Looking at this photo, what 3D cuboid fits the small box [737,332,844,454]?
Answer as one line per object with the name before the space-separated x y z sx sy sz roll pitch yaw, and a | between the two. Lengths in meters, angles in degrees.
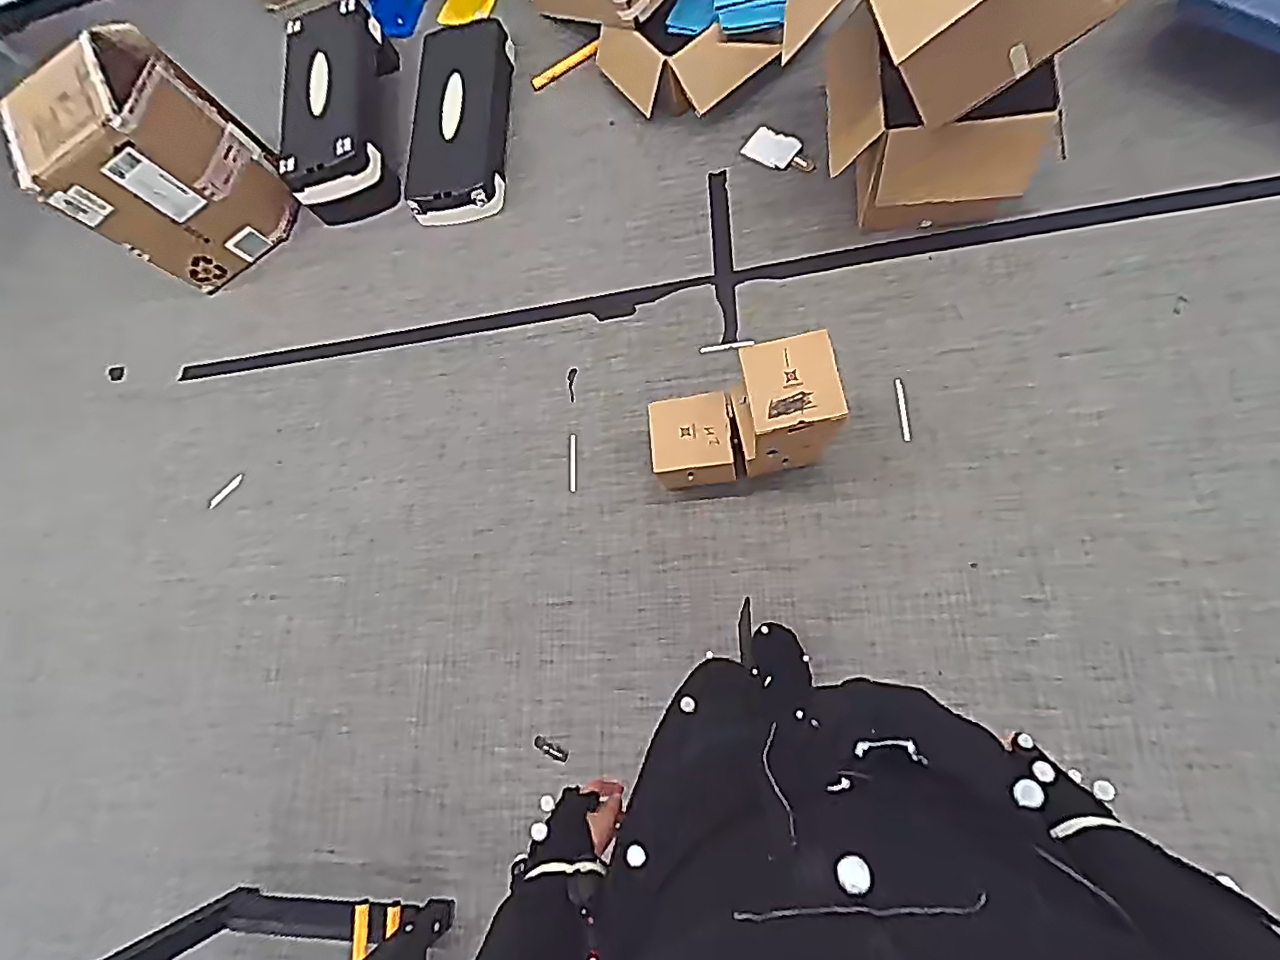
small box | 0.289 -0.158 1.060 0.168 0.176 0.179 -10 74 9
